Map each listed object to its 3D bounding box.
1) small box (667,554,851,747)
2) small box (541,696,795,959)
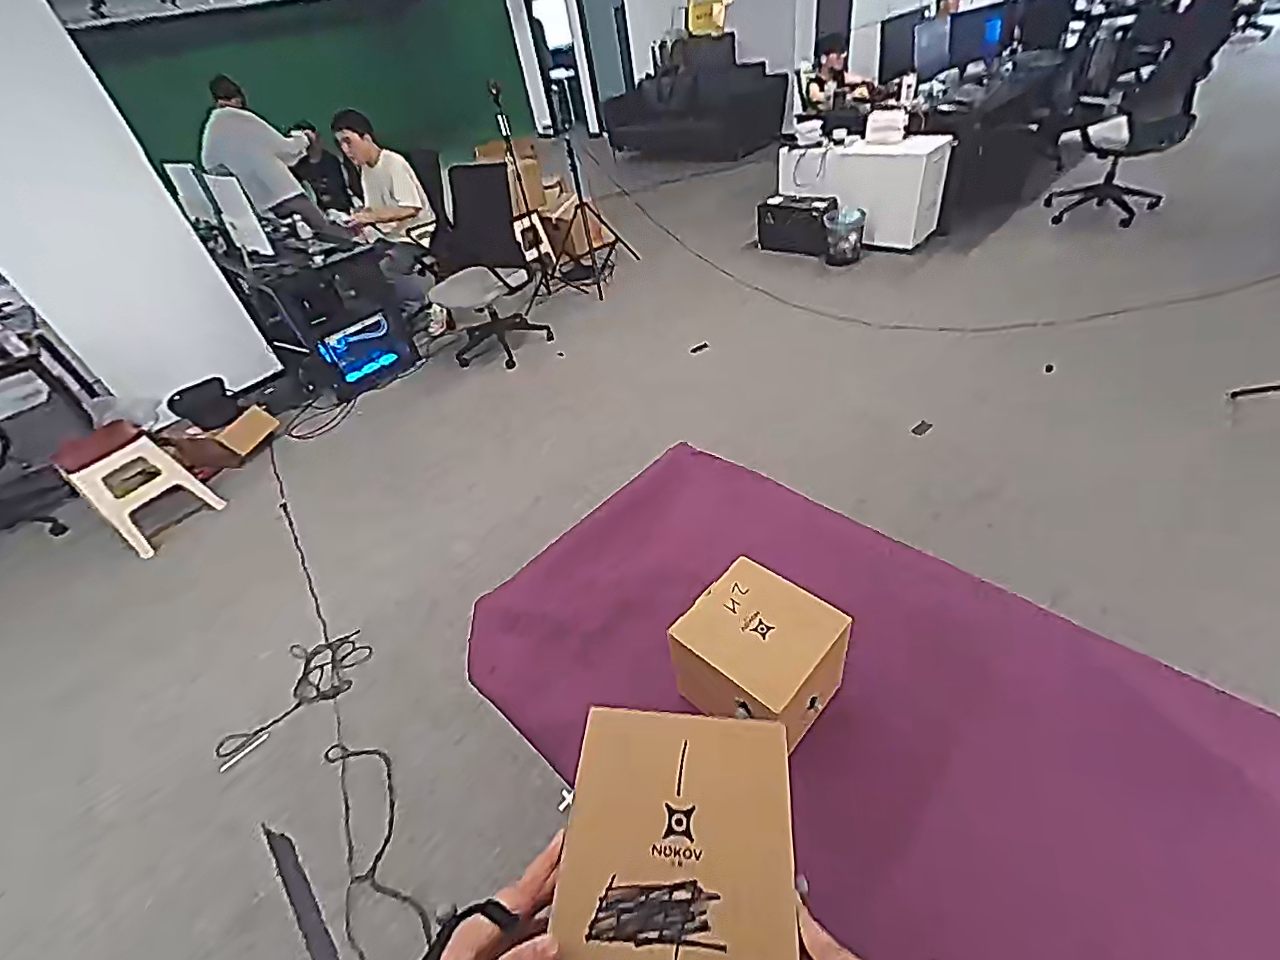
[{"bbox_3d":[0.163,0.242,0.744,0.179,0.176,0.168,28,54,37],"label":"small box"},{"bbox_3d":[0.036,0.304,0.447,0.168,0.176,0.179,1,45,10],"label":"small box"}]
